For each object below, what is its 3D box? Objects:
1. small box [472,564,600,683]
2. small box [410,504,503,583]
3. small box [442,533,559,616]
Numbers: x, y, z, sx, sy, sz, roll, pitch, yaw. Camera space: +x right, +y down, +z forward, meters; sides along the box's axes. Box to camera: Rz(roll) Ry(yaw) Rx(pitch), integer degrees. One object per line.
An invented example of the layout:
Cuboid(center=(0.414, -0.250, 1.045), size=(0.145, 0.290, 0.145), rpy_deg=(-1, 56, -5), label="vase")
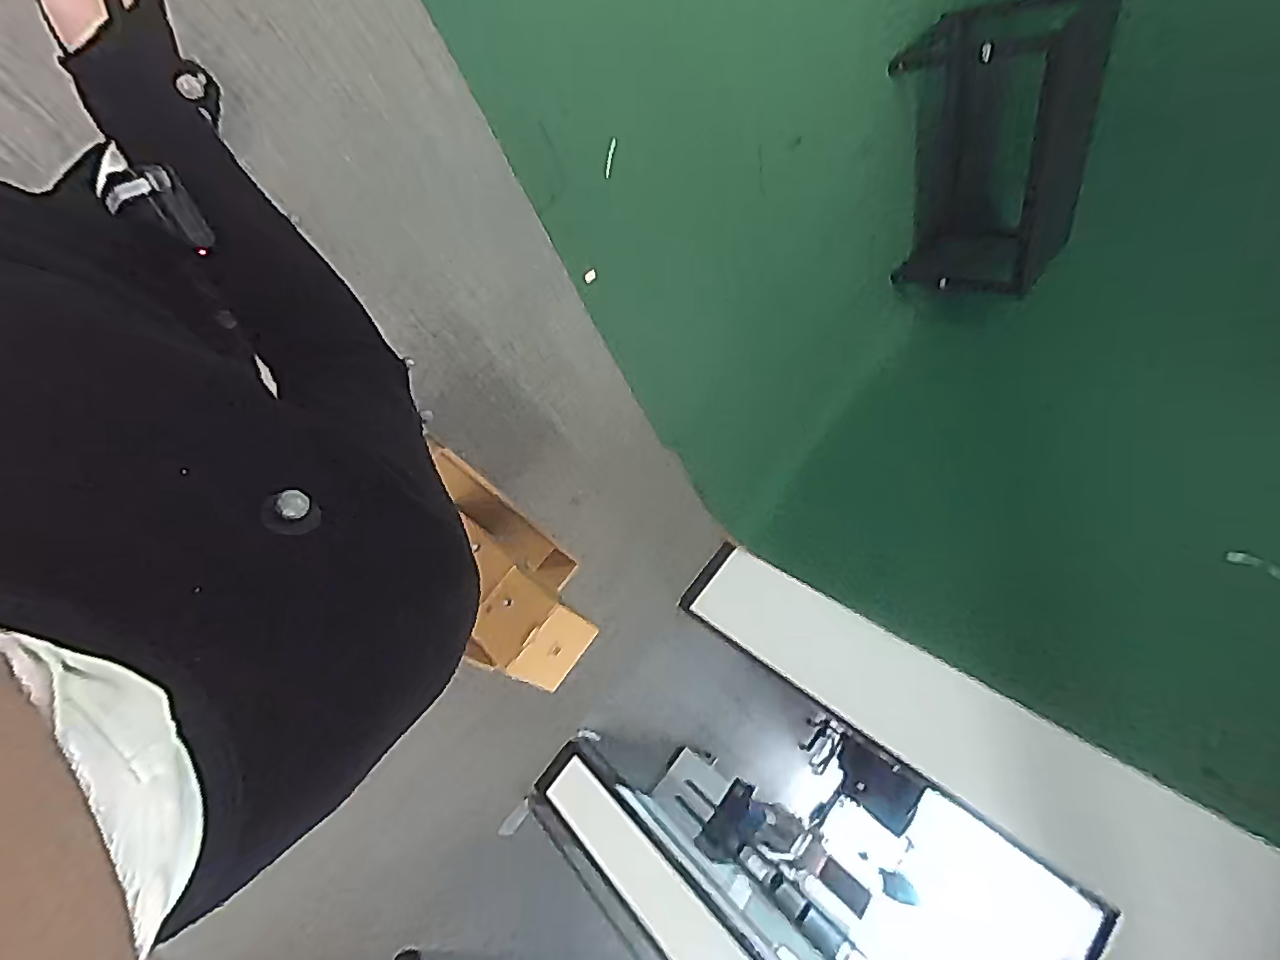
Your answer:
Cuboid(center=(-0.227, 0.310, 1.183), size=(0.168, 0.176, 0.179), rpy_deg=(-52, 140, -10), label="small box")
Cuboid(center=(-0.447, 0.187, 1.390), size=(0.168, 0.176, 0.179), rpy_deg=(-51, 140, -13), label="small box")
Cuboid(center=(-0.334, 0.248, 1.288), size=(0.168, 0.176, 0.179), rpy_deg=(-52, 142, -11), label="small box")
